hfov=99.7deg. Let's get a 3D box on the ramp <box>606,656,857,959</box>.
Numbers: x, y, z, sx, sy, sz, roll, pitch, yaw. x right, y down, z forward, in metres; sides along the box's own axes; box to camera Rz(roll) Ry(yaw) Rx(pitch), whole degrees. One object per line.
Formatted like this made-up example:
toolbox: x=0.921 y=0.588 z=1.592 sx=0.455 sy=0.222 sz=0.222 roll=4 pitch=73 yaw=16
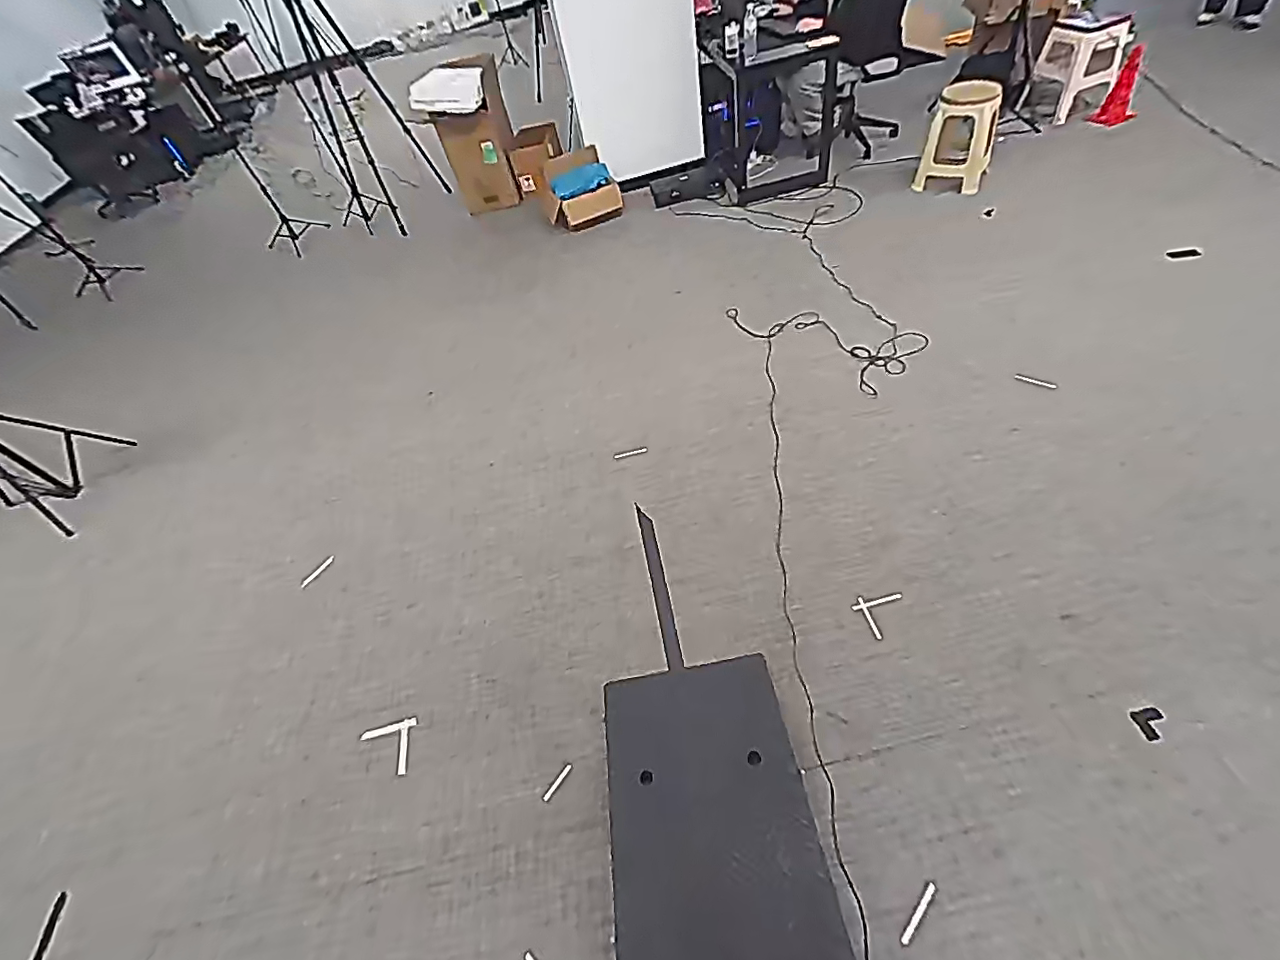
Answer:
ramp: x=0.176 y=0.886 z=1.238 sx=0.509 sy=0.206 sz=0.991 roll=-14 pitch=48 yaw=3
